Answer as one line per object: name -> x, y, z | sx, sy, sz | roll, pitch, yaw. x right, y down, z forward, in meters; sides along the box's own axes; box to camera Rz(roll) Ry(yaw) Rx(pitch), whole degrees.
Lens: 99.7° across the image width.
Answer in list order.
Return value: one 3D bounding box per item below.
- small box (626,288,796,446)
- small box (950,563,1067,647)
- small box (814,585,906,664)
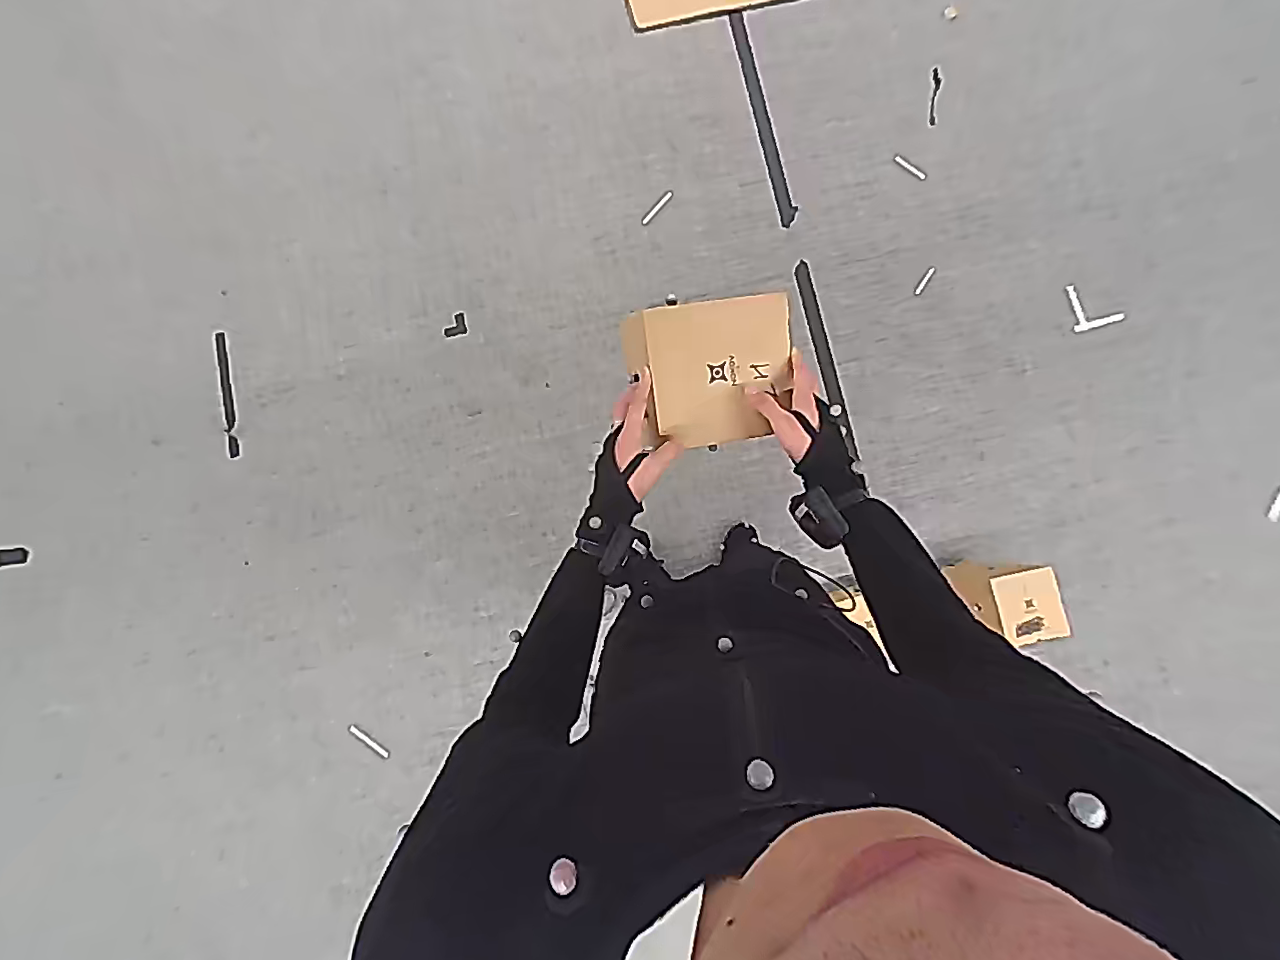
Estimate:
small box -> 0.082, -0.144, 0.706 | 0.179, 0.176, 0.168 | -10, 103, -8
small box -> 0.953, 0.319, 1.412 | 0.168, 0.176, 0.179 | -11, 83, -3
small box -> 0.625, 0.407, 1.561 | 0.168, 0.176, 0.179 | -16, 85, -3
